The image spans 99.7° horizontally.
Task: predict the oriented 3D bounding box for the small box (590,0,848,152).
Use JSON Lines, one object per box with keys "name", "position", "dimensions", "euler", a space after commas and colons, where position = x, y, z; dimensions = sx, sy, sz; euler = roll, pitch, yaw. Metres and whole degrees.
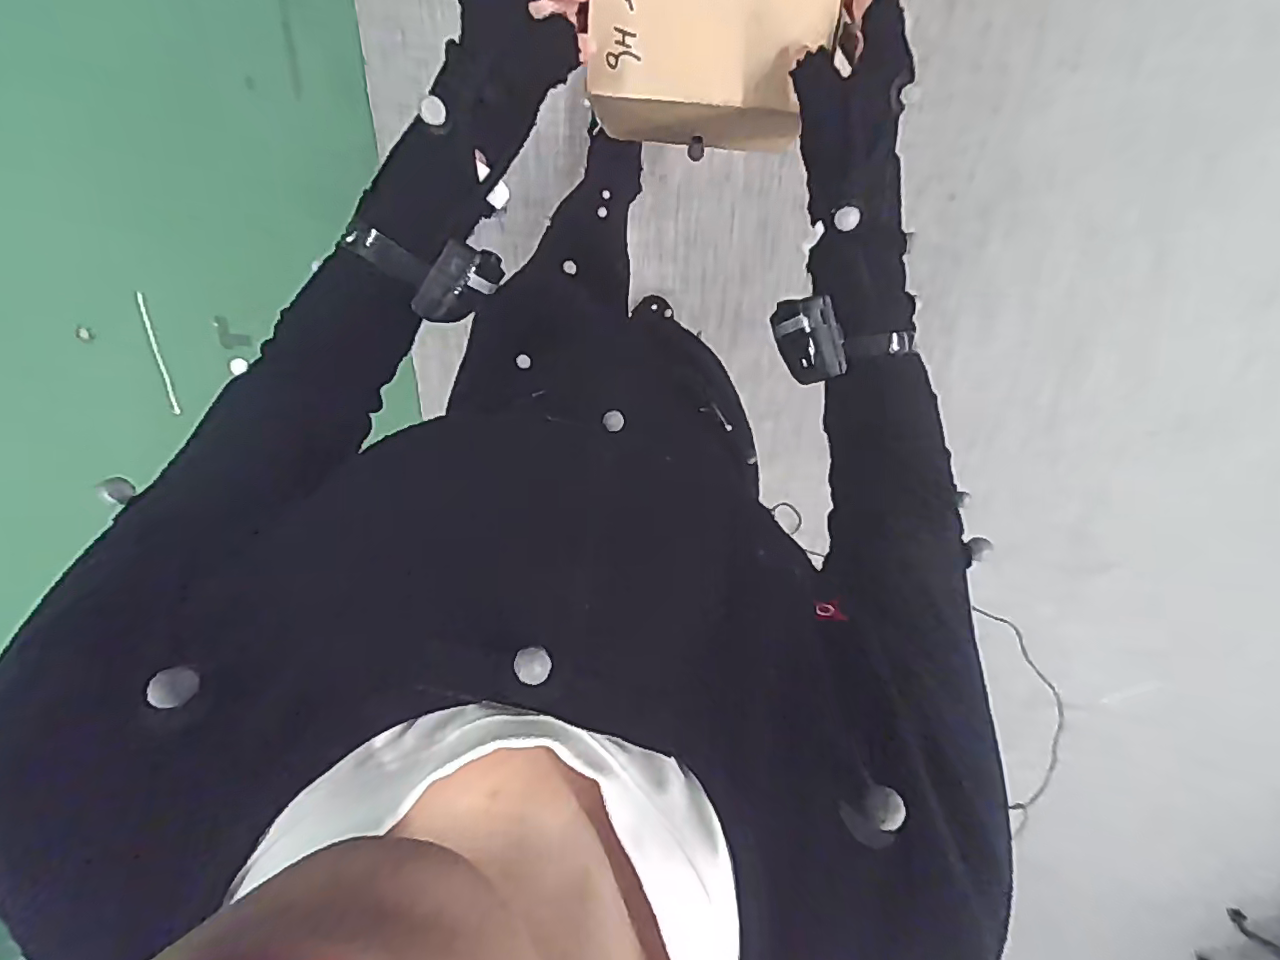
{"name": "small box", "position": [0.061, -0.377, 0.436], "dimensions": [0.179, 0.176, 0.168], "euler": [6, 112, 0]}
